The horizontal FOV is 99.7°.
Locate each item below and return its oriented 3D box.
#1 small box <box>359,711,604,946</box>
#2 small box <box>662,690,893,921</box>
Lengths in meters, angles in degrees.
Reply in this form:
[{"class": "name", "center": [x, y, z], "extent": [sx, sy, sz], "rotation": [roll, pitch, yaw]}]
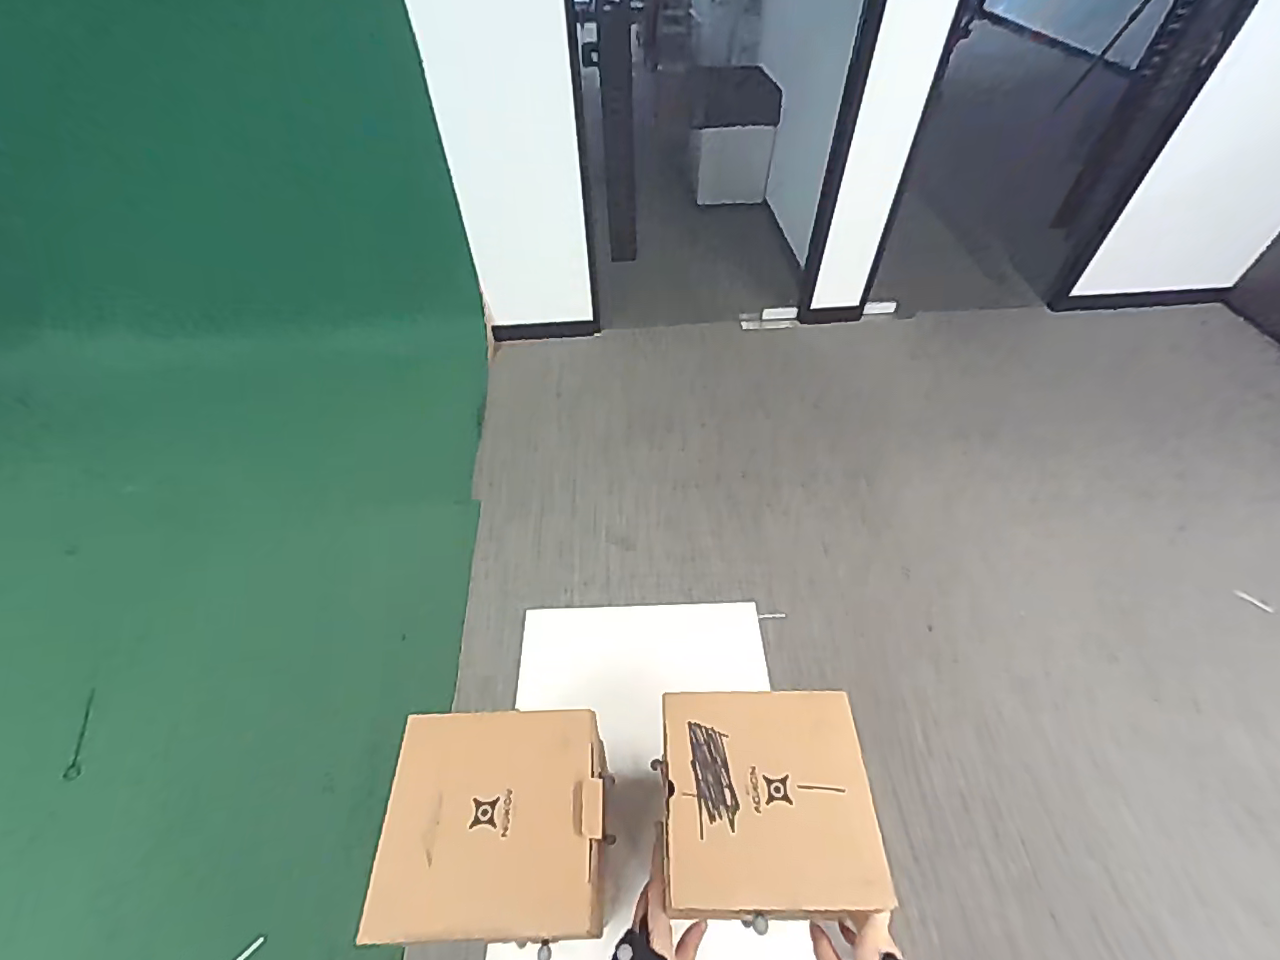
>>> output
[{"class": "small box", "center": [-0.125, 0.332, 0.514], "extent": [0.179, 0.176, 0.168], "rotation": [-2, 48, -1]}, {"class": "small box", "center": [0.110, 0.316, 0.521], "extent": [0.179, 0.176, 0.168], "rotation": [0, 49, 2]}]
